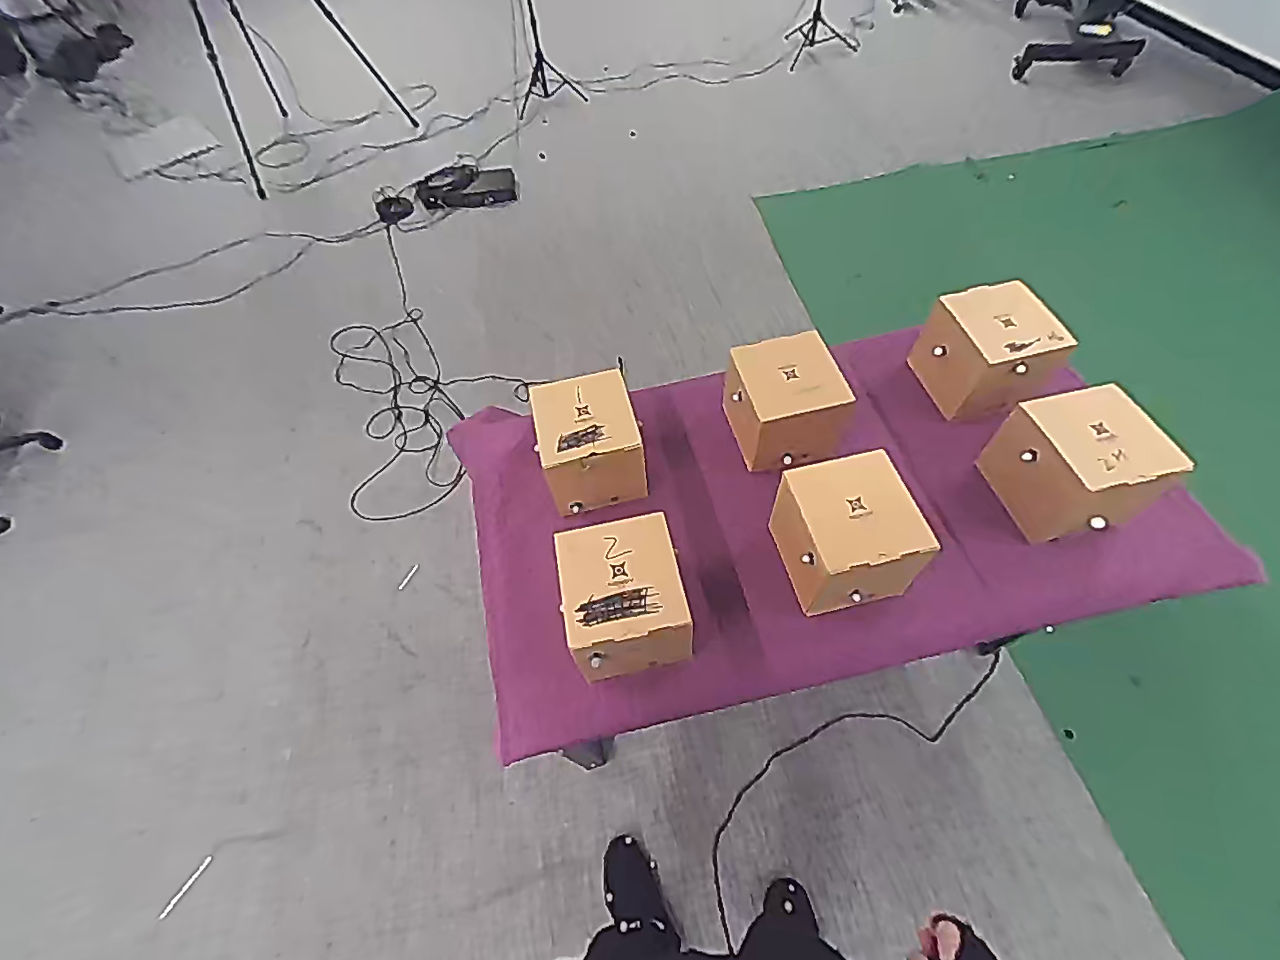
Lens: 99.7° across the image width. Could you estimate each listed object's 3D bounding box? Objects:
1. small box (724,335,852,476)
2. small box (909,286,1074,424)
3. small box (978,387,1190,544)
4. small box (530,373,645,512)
[{"bbox_3d":[0.259,-0.134,0.995,0.168,0.176,0.179,-13,58,-3],"label":"small box"},{"bbox_3d":[0.648,-0.234,1.027,0.168,0.176,0.179,-13,58,-4],"label":"small box"},{"bbox_3d":[0.701,-0.021,0.884,0.168,0.176,0.179,-12,56,-2],"label":"small box"},{"bbox_3d":[-0.090,-0.059,0.971,0.168,0.176,0.179,-13,57,-5],"label":"small box"}]
